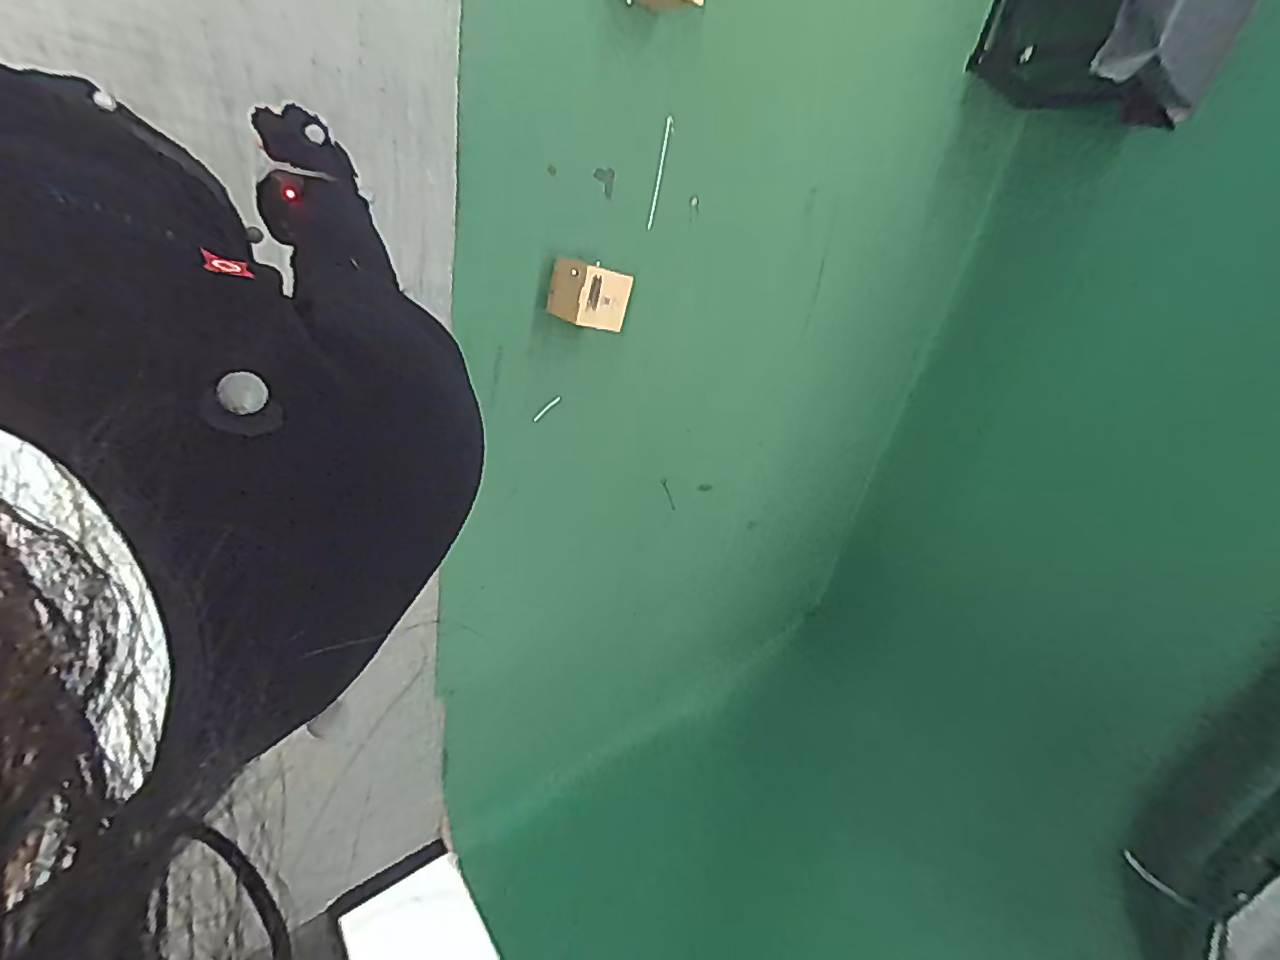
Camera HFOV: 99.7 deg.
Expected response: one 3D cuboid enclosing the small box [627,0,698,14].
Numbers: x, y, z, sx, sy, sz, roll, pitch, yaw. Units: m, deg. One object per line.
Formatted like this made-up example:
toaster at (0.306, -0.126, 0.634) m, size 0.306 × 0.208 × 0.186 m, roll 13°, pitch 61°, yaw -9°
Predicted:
small box at (0.043, -1.297, 1.341) m, size 0.168 × 0.176 × 0.179 m, roll -14°, pitch 124°, yaw -39°
